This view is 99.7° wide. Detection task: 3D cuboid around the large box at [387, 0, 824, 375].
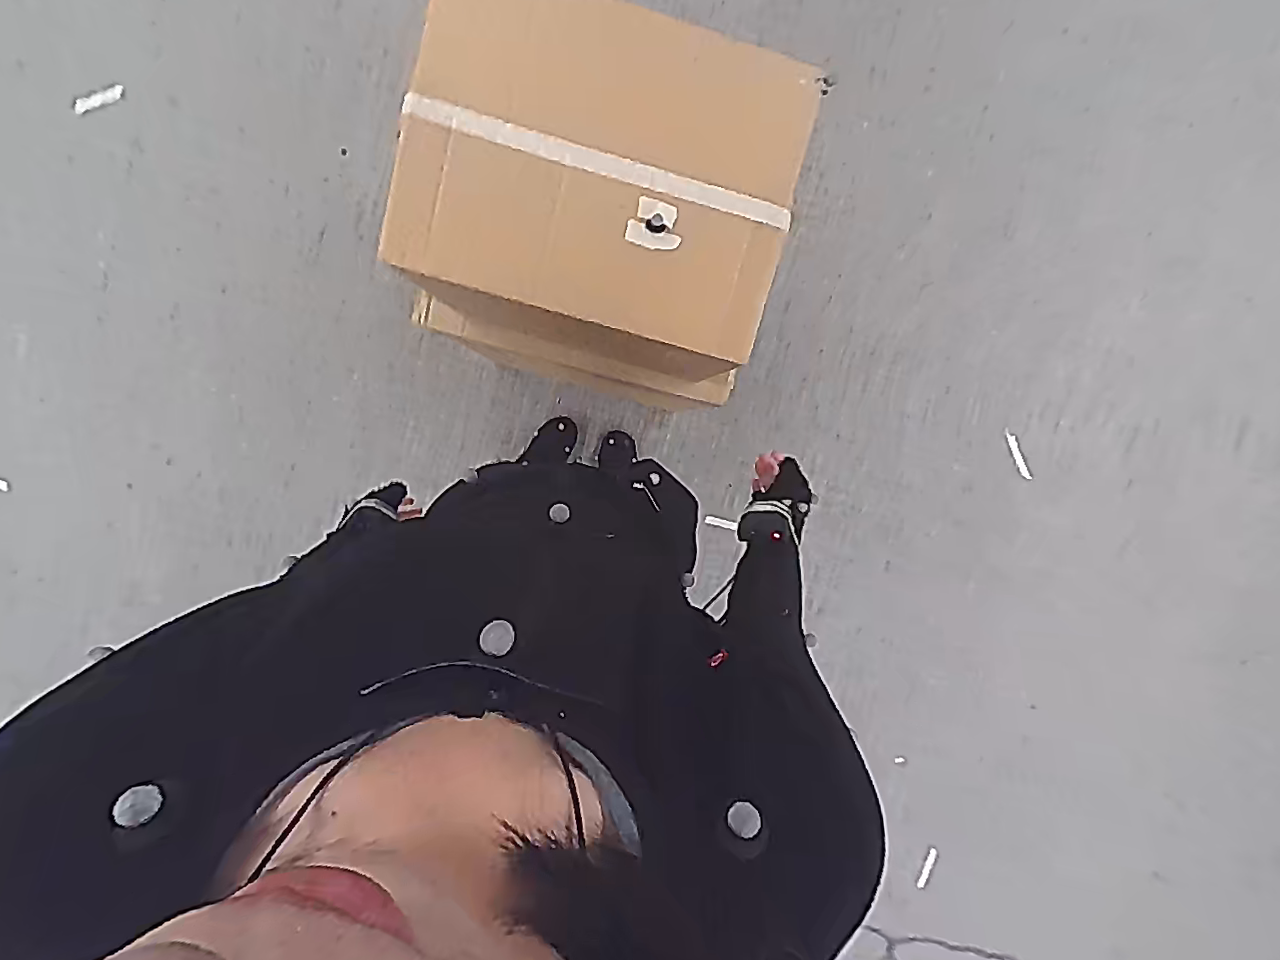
[{"bbox_3d":[-0.046,-0.345,0.704,0.408,0.320,0.320,14,96,-6],"label":"large box"}]
